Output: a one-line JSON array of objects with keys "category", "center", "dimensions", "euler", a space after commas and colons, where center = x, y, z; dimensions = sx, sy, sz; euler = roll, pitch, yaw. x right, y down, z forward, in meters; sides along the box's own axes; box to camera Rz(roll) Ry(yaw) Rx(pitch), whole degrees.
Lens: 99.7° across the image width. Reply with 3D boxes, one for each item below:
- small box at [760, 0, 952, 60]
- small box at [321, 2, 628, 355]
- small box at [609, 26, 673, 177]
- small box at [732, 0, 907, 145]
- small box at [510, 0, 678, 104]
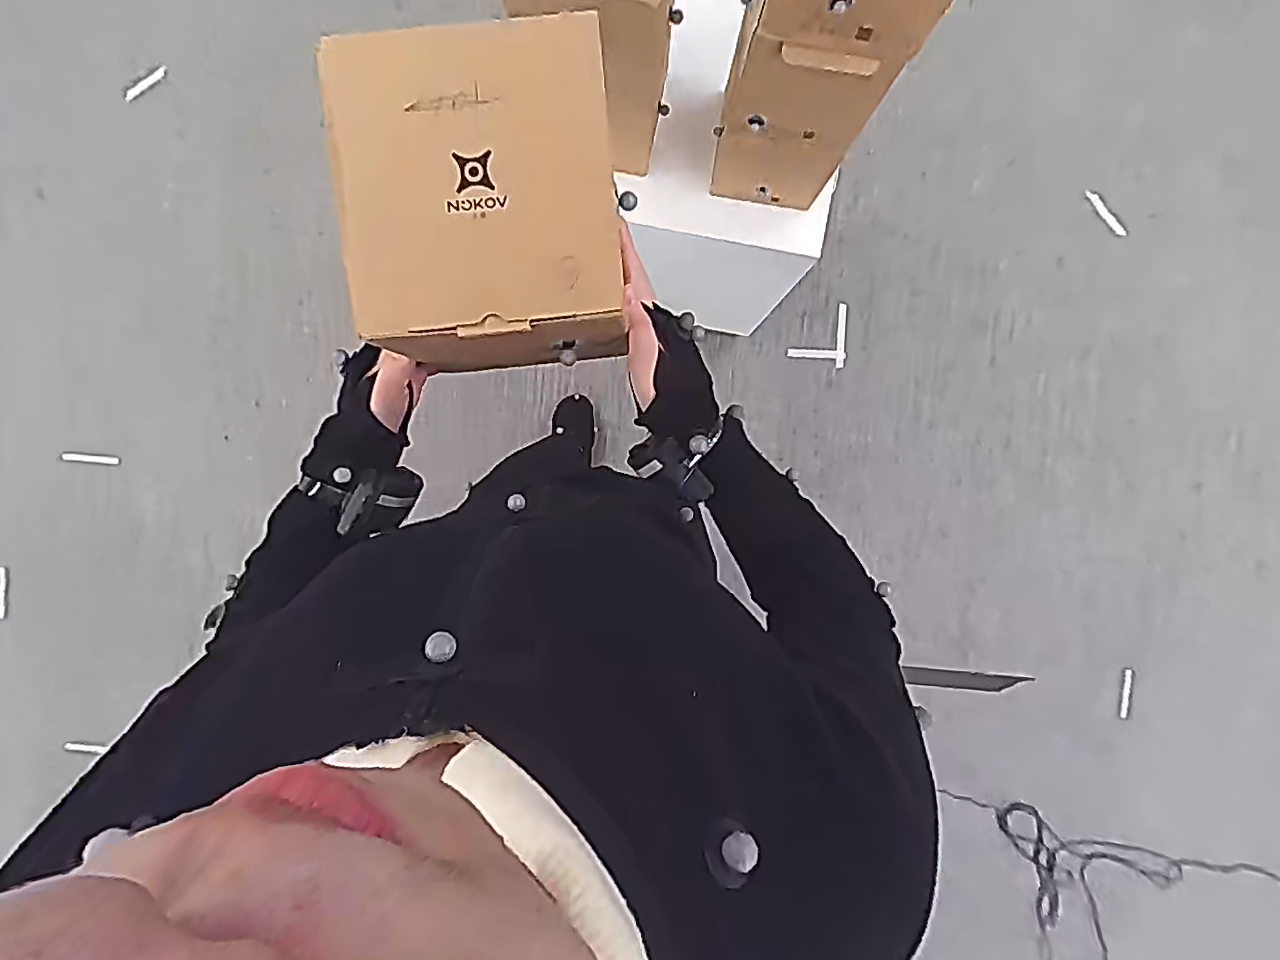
[{"category": "small box", "center": [0.211, -0.520, 0.465], "dimensions": [0.168, 0.176, 0.179], "euler": [9, 93, -1]}, {"category": "small box", "center": [-0.097, -0.191, 0.399], "dimensions": [0.168, 0.176, 0.179], "euler": [-5, 95, -1]}, {"category": "small box", "center": [-0.049, -0.585, 0.787], "dimensions": [0.168, 0.176, 0.179], "euler": [11, 91, -1]}, {"category": "small box", "center": [0.209, -0.528, 0.627], "dimensions": [0.168, 0.176, 0.179], "euler": [9, 91, -1]}, {"category": "small box", "center": [-0.049, -0.575, 0.622], "dimensions": [0.179, 0.176, 0.168], "euler": [11, 93, -1]}]
